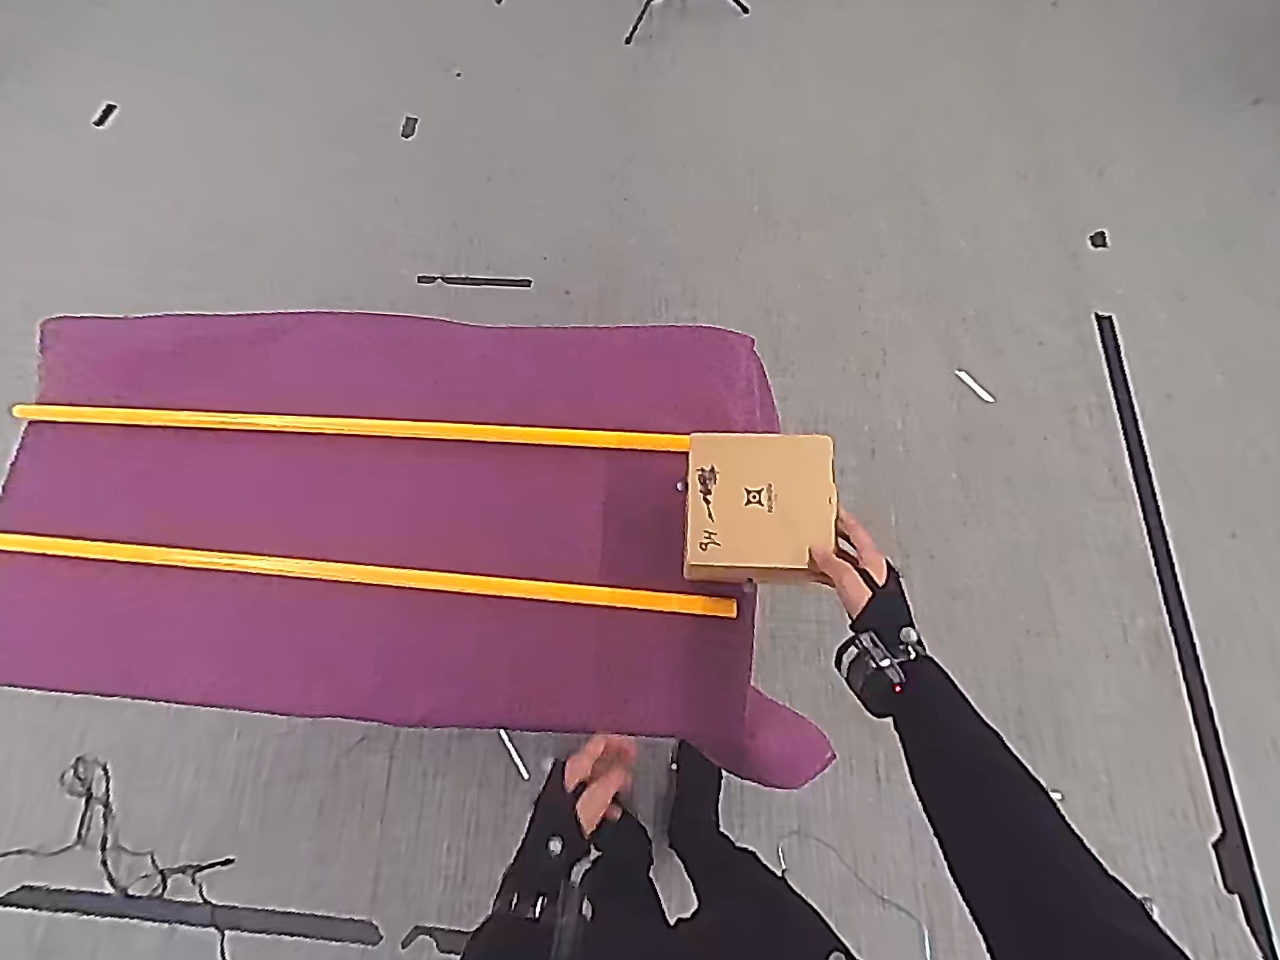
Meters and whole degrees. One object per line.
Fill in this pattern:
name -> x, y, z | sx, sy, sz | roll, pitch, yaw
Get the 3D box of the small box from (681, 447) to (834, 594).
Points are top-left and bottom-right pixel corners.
small box -> 0.147, 0.062, 0.727 | 0.179, 0.176, 0.168 | 2, 74, 4
